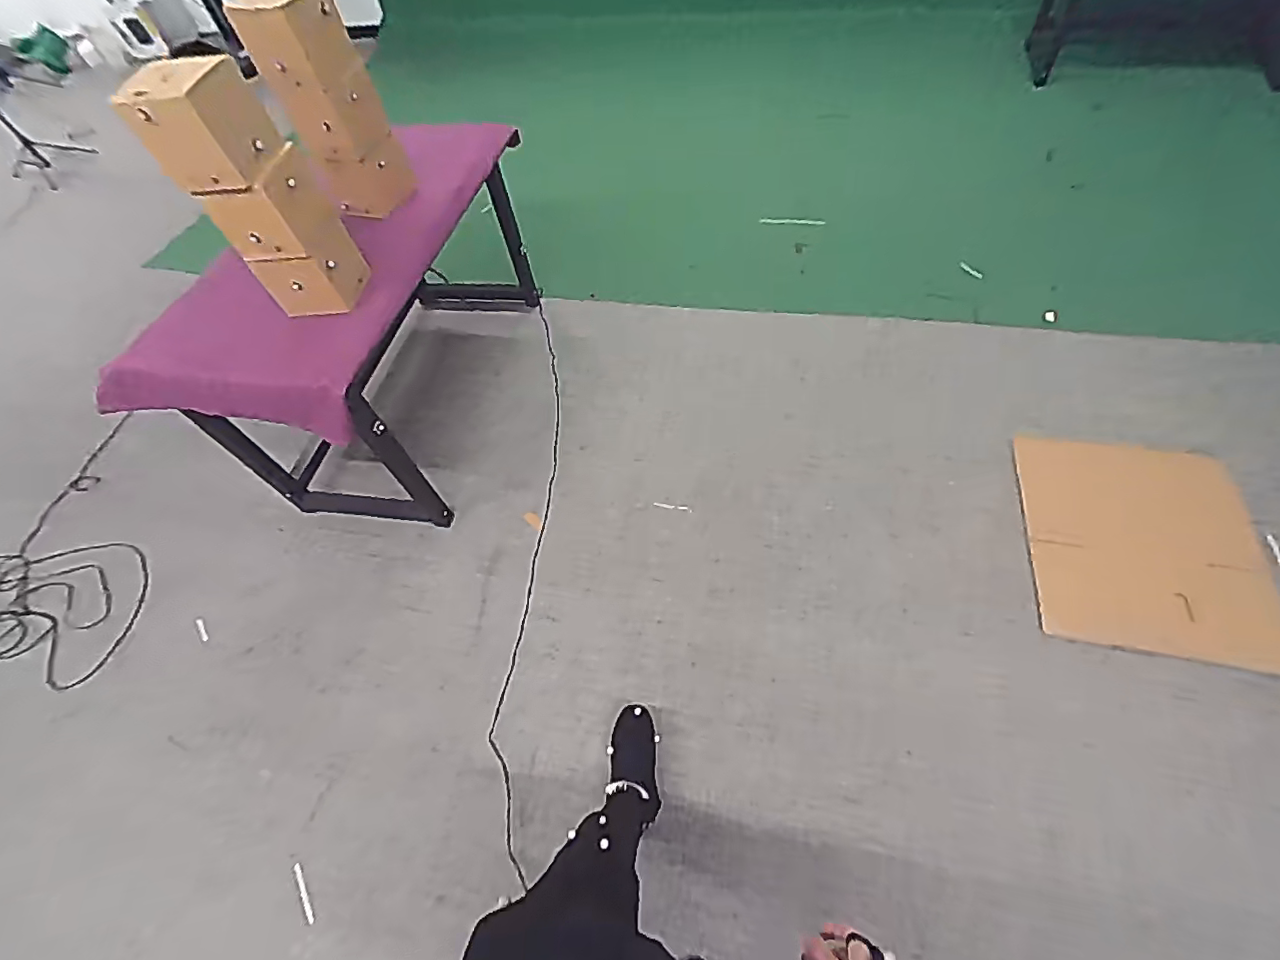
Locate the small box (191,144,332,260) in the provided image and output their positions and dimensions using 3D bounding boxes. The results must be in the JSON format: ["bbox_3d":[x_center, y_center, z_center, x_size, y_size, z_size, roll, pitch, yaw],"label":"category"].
[{"bbox_3d":[-0.830,-0.618,1.210,0.168,0.176,0.179,0,58,7],"label":"small box"}]

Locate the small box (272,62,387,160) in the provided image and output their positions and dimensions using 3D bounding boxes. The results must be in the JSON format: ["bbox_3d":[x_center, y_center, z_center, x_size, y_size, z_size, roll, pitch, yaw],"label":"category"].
[{"bbox_3d":[-0.815,-0.983,1.443,0.168,0.176,0.179,12,59,13],"label":"small box"}]

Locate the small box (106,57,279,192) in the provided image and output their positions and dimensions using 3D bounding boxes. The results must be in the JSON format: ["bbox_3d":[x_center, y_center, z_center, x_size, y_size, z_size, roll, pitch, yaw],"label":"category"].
[{"bbox_3d":[-0.864,-0.699,1.070,0.168,0.176,0.179,1,58,8],"label":"small box"}]

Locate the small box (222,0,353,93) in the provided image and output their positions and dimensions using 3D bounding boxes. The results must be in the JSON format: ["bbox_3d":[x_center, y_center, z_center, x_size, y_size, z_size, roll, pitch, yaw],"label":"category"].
[{"bbox_3d":[-0.833,-1.071,1.305,0.168,0.176,0.179,11,60,13],"label":"small box"}]

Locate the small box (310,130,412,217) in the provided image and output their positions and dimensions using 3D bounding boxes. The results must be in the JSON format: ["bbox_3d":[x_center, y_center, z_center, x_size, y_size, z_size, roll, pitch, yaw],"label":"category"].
[{"bbox_3d":[-0.803,-0.897,1.581,0.168,0.176,0.179,13,59,14],"label":"small box"}]
